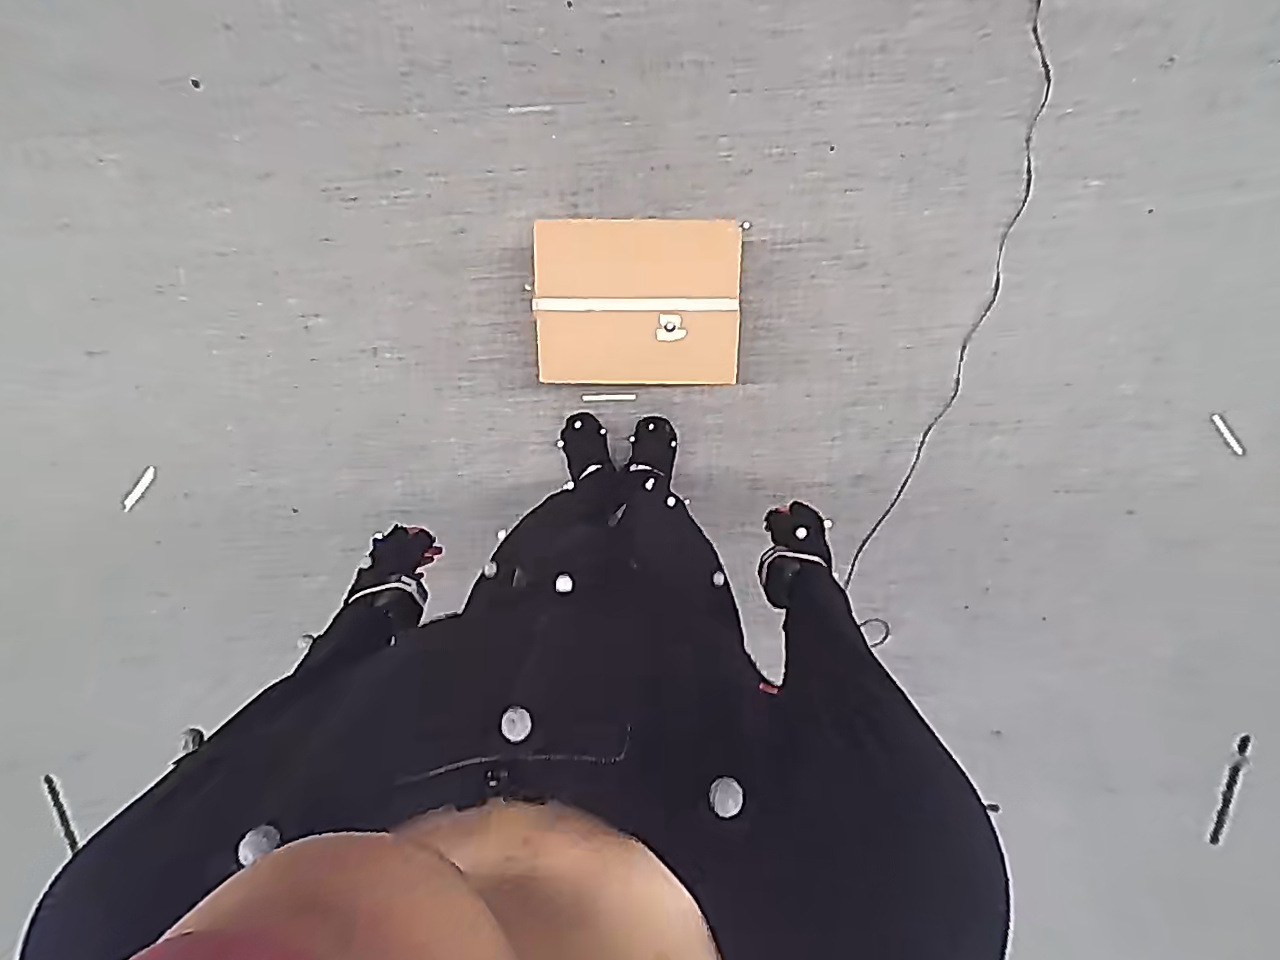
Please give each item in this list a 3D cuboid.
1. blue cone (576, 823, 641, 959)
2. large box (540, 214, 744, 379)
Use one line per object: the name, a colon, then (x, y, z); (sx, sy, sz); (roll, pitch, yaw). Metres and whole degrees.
blue cone: (-0.110, 1.256, 1.617); (0.193, 0.380, 0.192); (20, 104, -2)
large box: (0.004, -0.395, 1.222); (0.408, 0.320, 0.320); (1, 104, 1)
